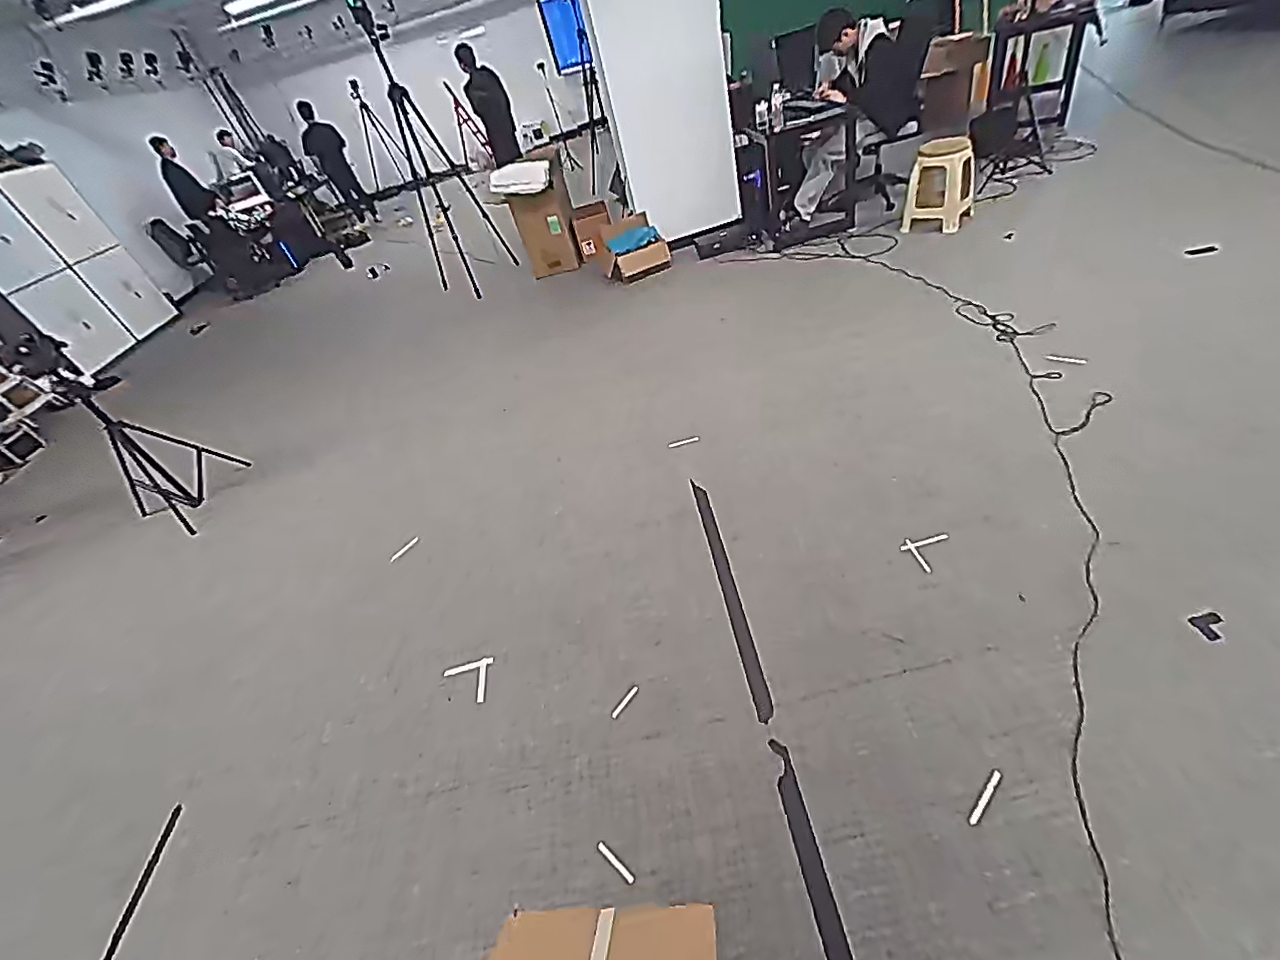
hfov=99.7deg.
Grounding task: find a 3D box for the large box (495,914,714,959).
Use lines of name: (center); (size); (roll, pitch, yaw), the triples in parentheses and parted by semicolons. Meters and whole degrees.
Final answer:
large box: (-0.048, 0.806, 0.611); (0.320, 0.320, 0.408); (-6, -2, 6)
